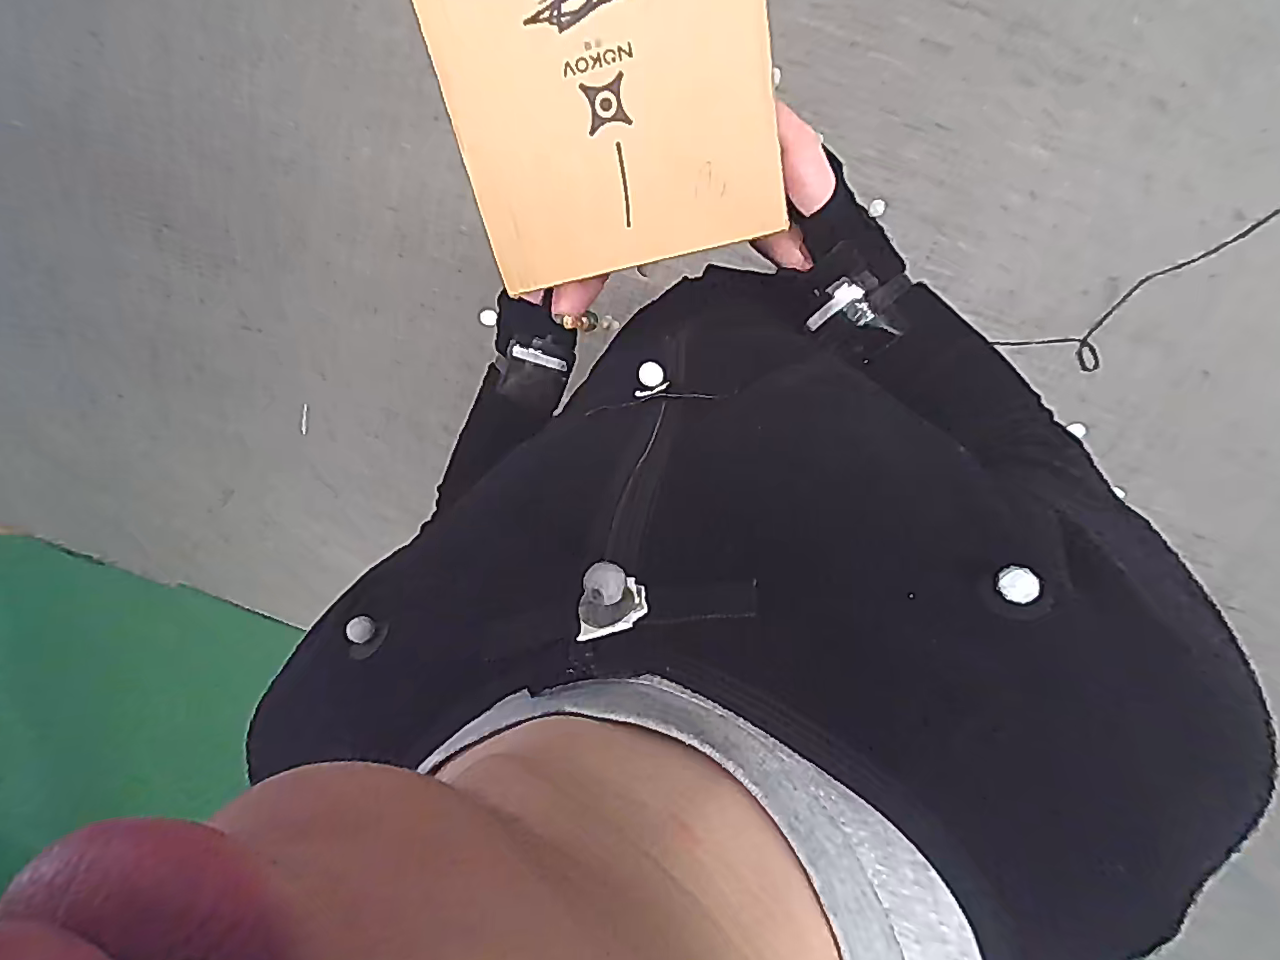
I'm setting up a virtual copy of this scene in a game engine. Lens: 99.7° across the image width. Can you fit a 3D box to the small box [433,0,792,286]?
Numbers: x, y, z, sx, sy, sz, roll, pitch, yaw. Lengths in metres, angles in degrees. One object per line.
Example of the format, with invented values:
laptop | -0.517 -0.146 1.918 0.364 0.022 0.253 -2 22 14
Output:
small box | -0.007 -0.238 0.343 0.168 0.176 0.179 -9 117 9
